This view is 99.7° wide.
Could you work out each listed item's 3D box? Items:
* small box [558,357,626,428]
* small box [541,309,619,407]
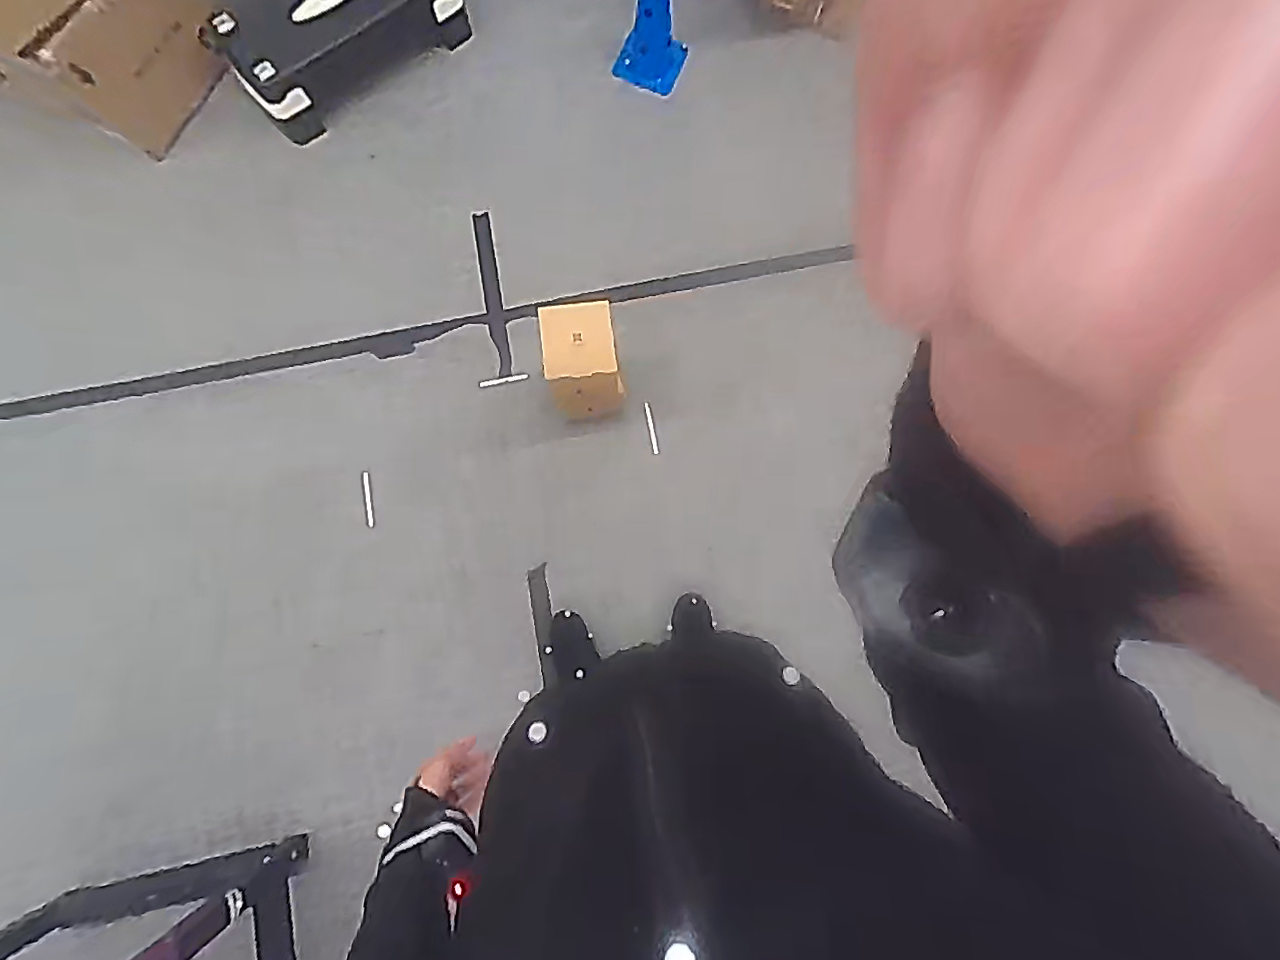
[{"bbox_3d":[-0.141,-0.252,1.470,0.179,0.176,0.168,-12,81,-3],"label":"small box"},{"bbox_3d":[-0.142,-0.290,1.311,0.168,0.176,0.179,-7,81,-3],"label":"small box"}]
